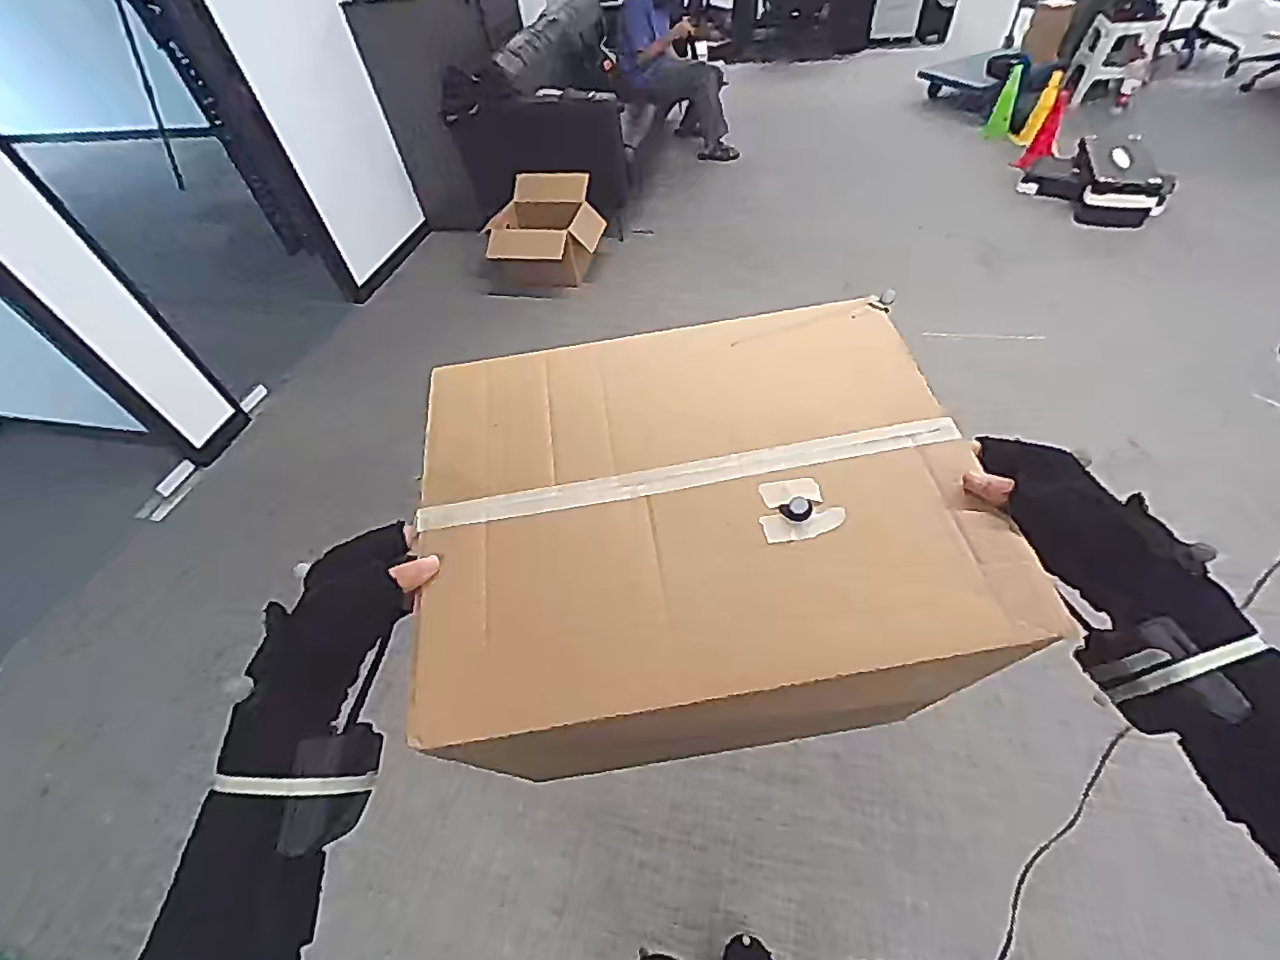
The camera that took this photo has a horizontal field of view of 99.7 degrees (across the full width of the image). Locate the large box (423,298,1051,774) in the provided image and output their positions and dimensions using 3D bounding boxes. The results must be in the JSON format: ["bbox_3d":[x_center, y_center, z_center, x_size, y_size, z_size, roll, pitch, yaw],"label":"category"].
[{"bbox_3d":[0.048,0.072,0.533,0.408,0.320,0.320,-9,58,-2],"label":"large box"}]
